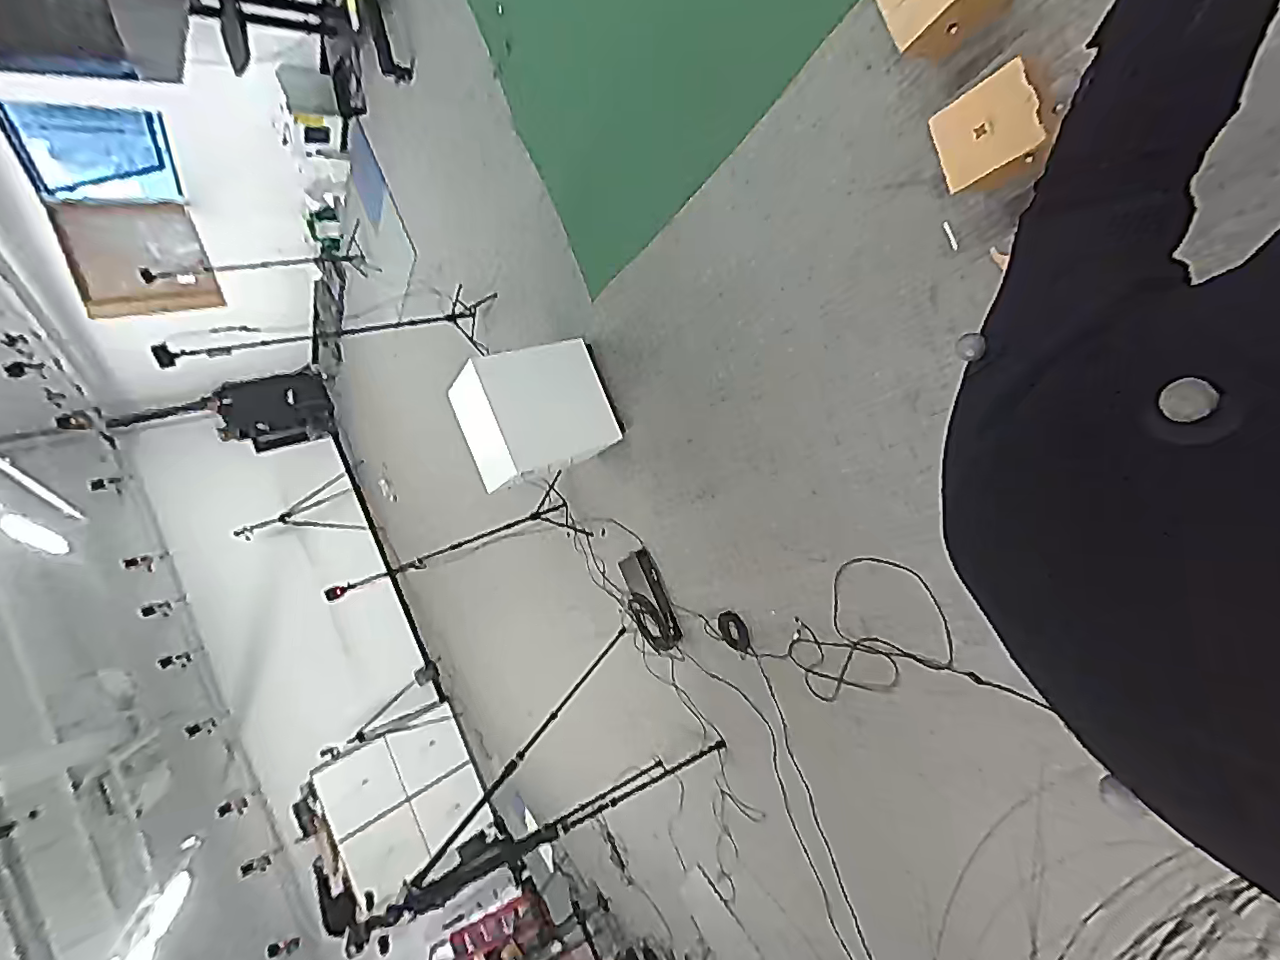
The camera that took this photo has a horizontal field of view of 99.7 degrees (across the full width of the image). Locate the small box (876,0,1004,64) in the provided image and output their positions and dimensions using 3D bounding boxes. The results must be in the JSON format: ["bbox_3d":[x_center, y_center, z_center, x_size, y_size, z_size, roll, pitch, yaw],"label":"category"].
[{"bbox_3d":[0.625,-1.012,1.116,0.179,0.176,0.168,-26,86,55],"label":"small box"}]

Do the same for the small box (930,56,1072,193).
[{"bbox_3d":[0.742,-0.715,1.114,0.179,0.176,0.168,-18,93,54],"label":"small box"}]
